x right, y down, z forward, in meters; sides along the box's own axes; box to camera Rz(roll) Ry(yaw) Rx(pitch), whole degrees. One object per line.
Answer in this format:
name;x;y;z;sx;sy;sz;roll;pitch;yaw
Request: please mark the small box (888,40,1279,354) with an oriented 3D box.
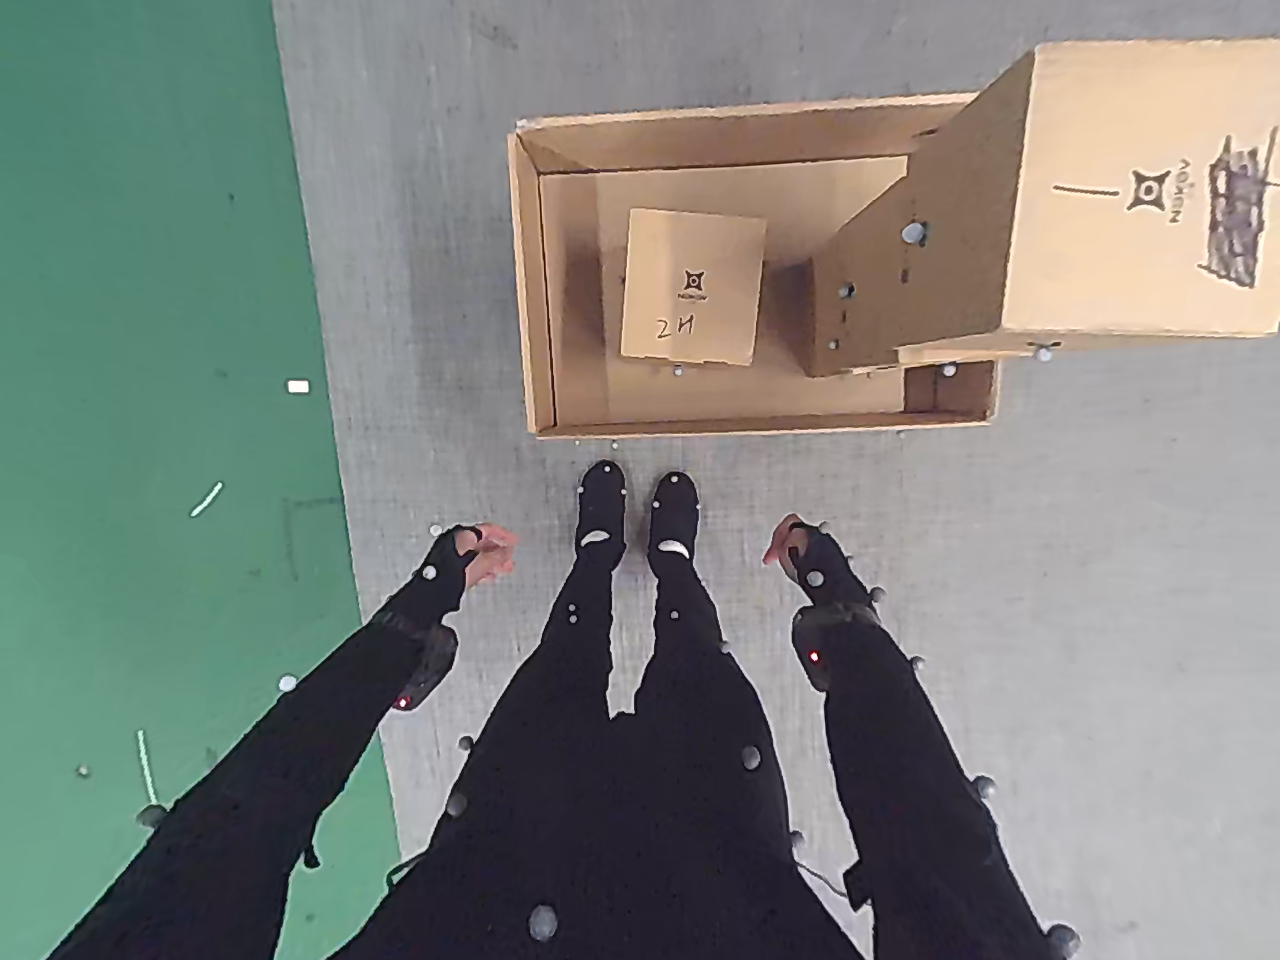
small box;0.314;-0.186;0.404;0.179;0.176;0.168;2;99;2
